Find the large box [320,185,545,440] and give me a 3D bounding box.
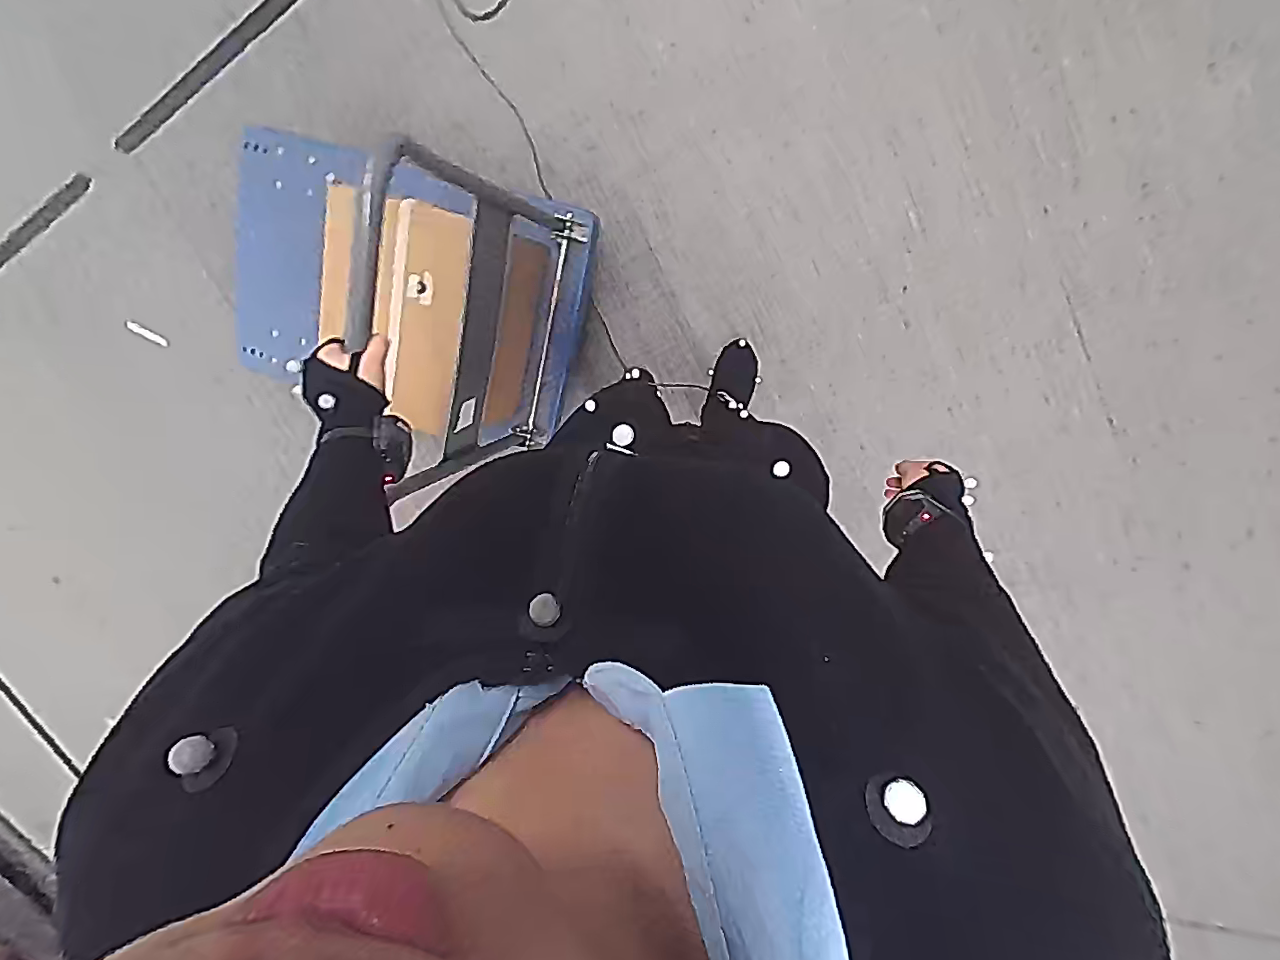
[{"bbox_3d":[-0.425,-0.340,1.148,0.320,0.320,0.408,17,108,3],"label":"large box"}]
